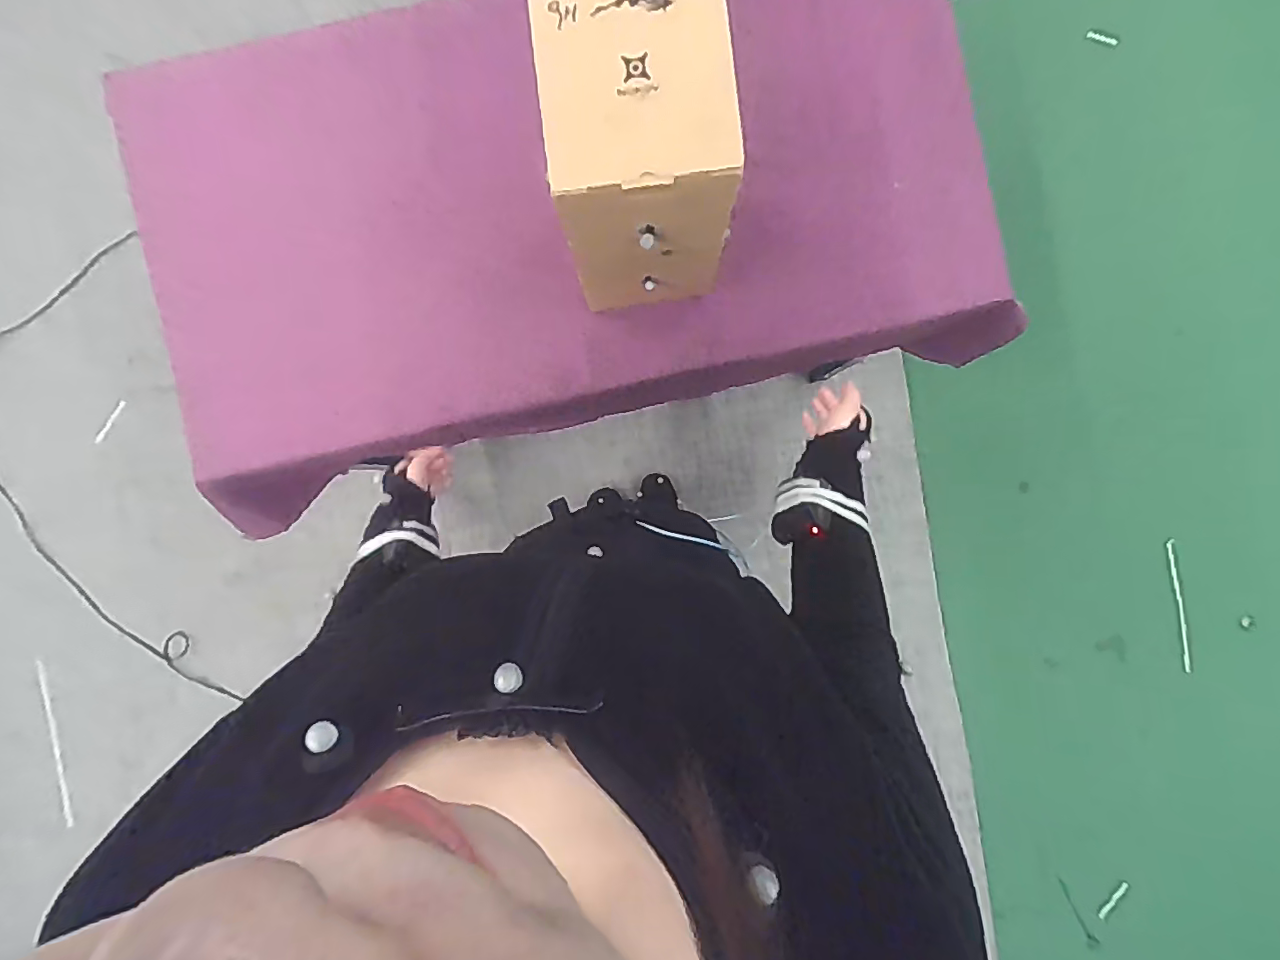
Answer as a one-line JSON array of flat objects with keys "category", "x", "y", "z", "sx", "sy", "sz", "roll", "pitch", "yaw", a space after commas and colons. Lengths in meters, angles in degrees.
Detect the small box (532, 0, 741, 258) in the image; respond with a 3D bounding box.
[{"category": "small box", "x": -0.001, "y": -0.334, "z": 0.532, "sx": 0.168, "sy": 0.176, "sz": 0.179, "roll": -6, "pitch": 91, "yaw": 0}]
